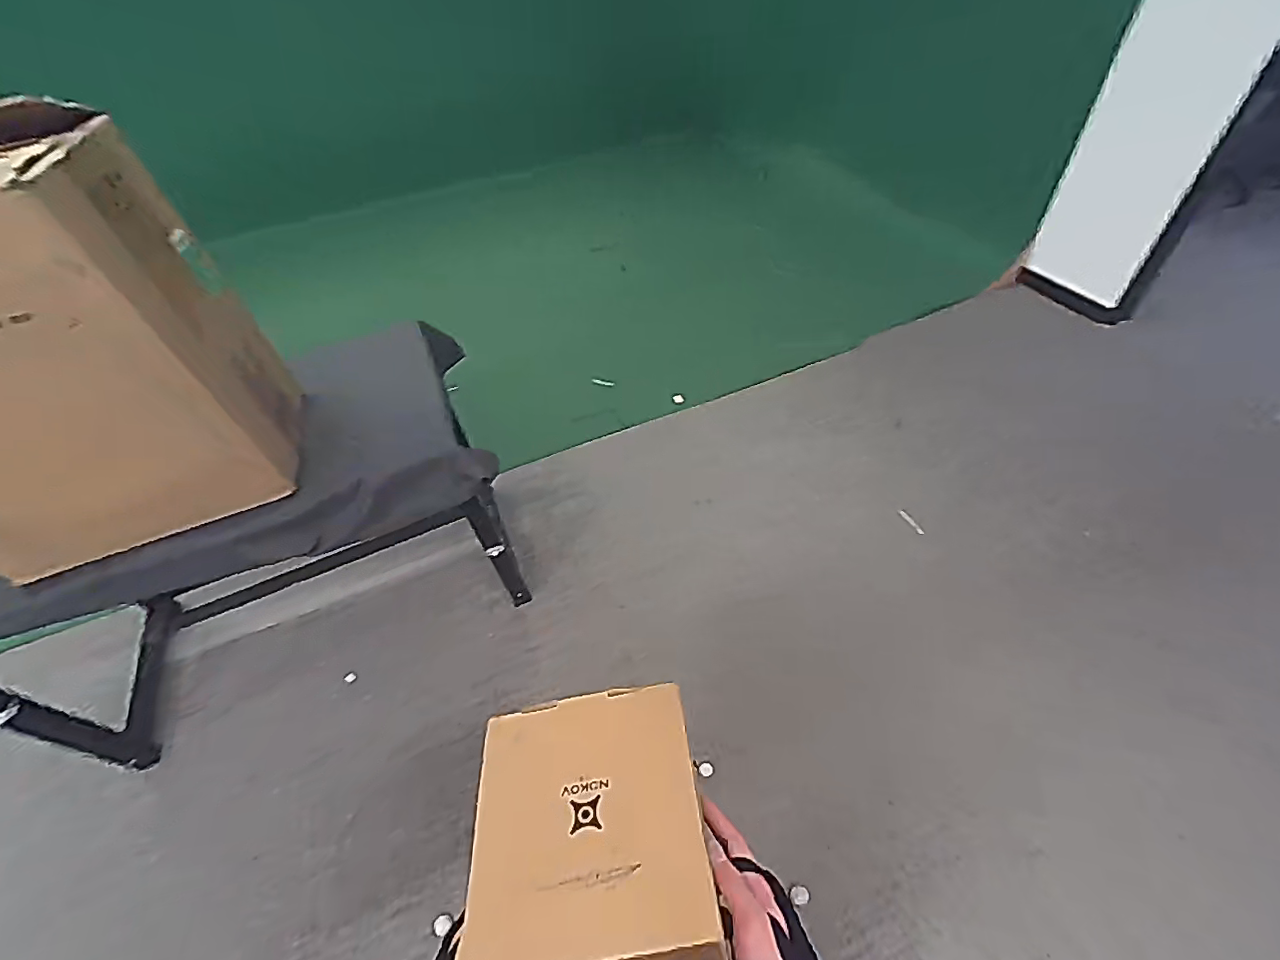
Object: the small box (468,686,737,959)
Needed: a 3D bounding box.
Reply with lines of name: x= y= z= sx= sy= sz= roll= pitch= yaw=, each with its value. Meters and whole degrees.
small box: x=-0.024 y=0.303 z=0.438 sx=0.168 sy=0.176 sz=0.179 roll=-12 pitch=38 yaw=-1
